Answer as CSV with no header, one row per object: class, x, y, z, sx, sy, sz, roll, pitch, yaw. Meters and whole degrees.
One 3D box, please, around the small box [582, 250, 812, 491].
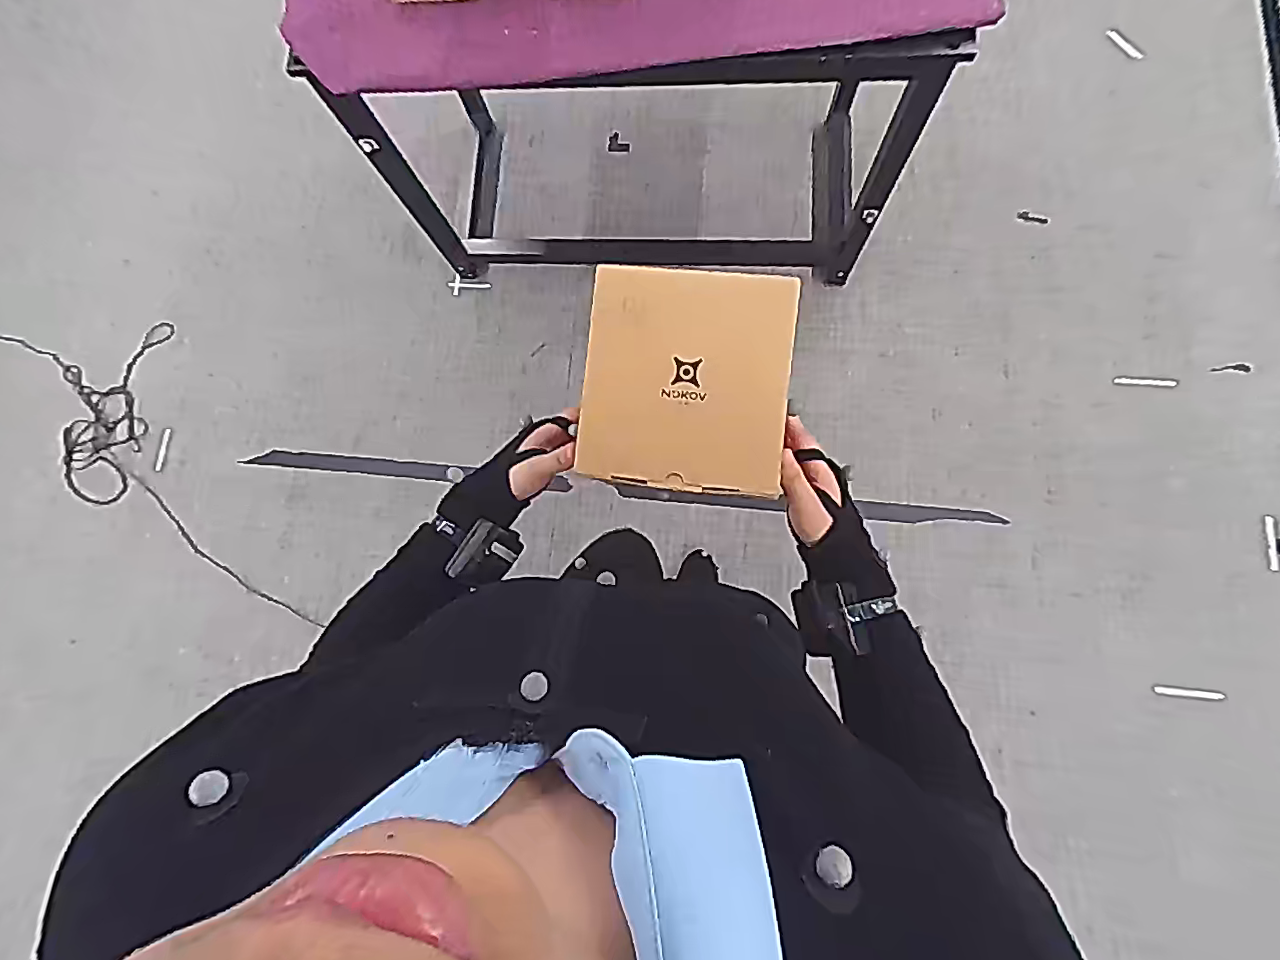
small box,0.050,-0.086,0.501,0.168,0.176,0.179,6,89,5
